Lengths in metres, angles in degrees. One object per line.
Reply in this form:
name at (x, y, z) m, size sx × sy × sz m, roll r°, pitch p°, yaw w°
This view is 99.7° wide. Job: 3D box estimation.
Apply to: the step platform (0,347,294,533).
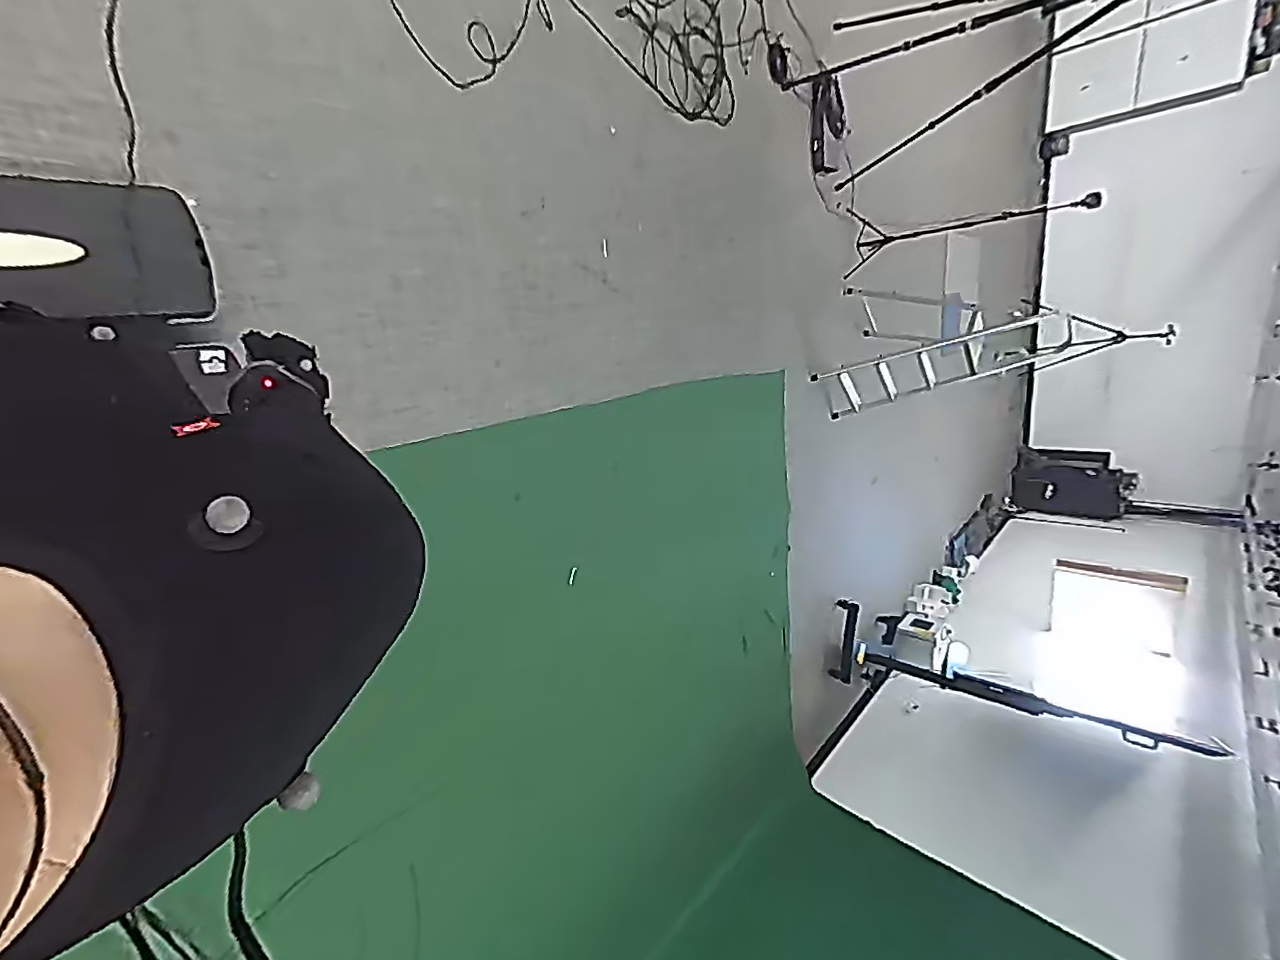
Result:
step platform at (-1.045, -0.063, 0.969) m, size 0.684 × 0.204 × 0.286 m, roll -21°, pitch 110°, yaw -44°
